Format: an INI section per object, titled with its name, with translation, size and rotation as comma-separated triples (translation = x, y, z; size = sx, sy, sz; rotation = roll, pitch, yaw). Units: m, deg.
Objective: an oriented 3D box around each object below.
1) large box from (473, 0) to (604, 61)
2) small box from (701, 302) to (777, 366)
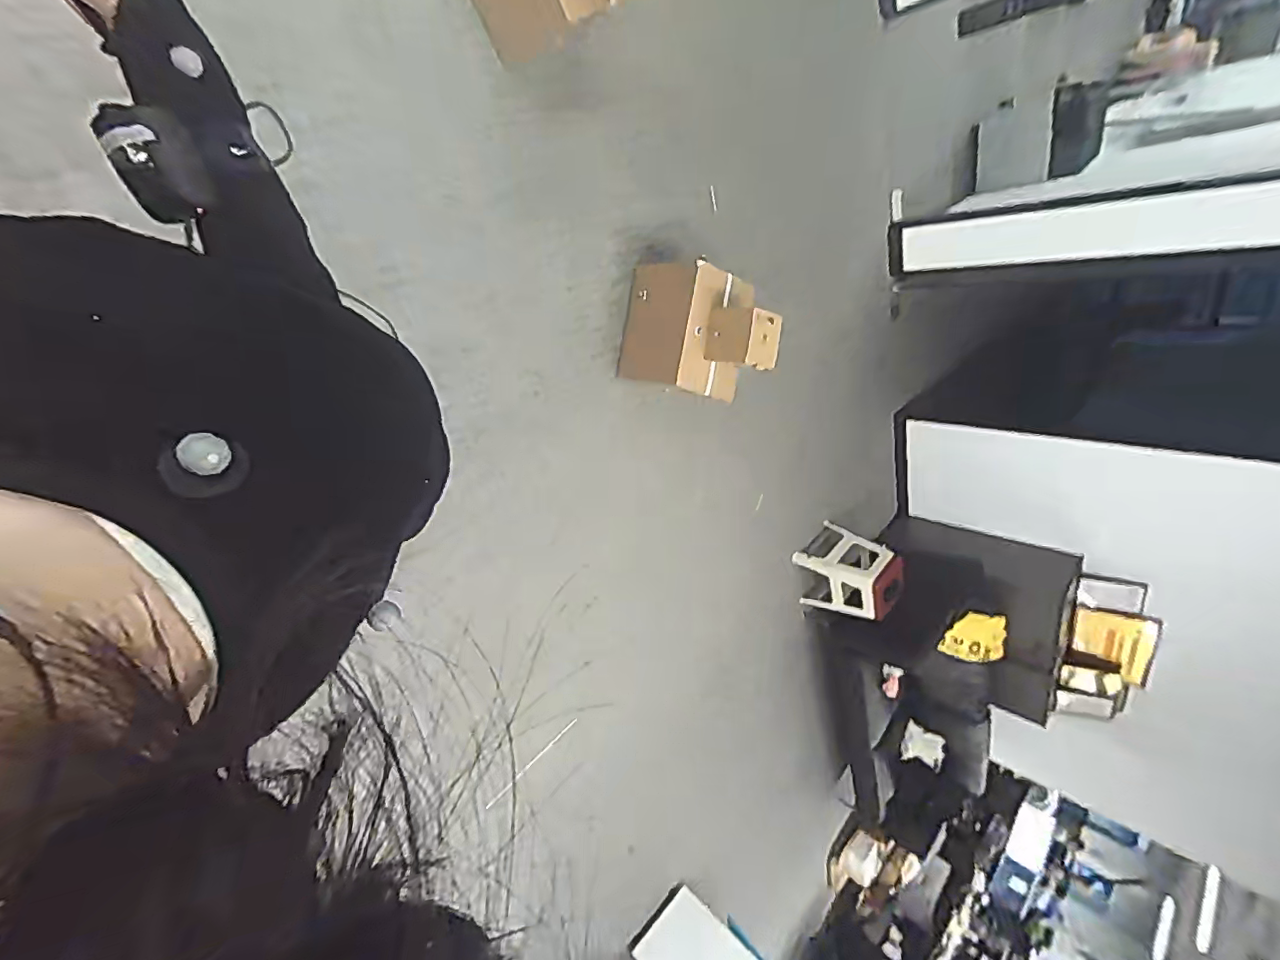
[large box]
translation = -0.265, -1.343, 1.299
size = 0.320, 0.320, 0.408
rotation = -49, 130, -23
[small box]
translation = 0.322, -0.481, 1.780
size = 0.168, 0.176, 0.179
rotation = -2, 104, -46
